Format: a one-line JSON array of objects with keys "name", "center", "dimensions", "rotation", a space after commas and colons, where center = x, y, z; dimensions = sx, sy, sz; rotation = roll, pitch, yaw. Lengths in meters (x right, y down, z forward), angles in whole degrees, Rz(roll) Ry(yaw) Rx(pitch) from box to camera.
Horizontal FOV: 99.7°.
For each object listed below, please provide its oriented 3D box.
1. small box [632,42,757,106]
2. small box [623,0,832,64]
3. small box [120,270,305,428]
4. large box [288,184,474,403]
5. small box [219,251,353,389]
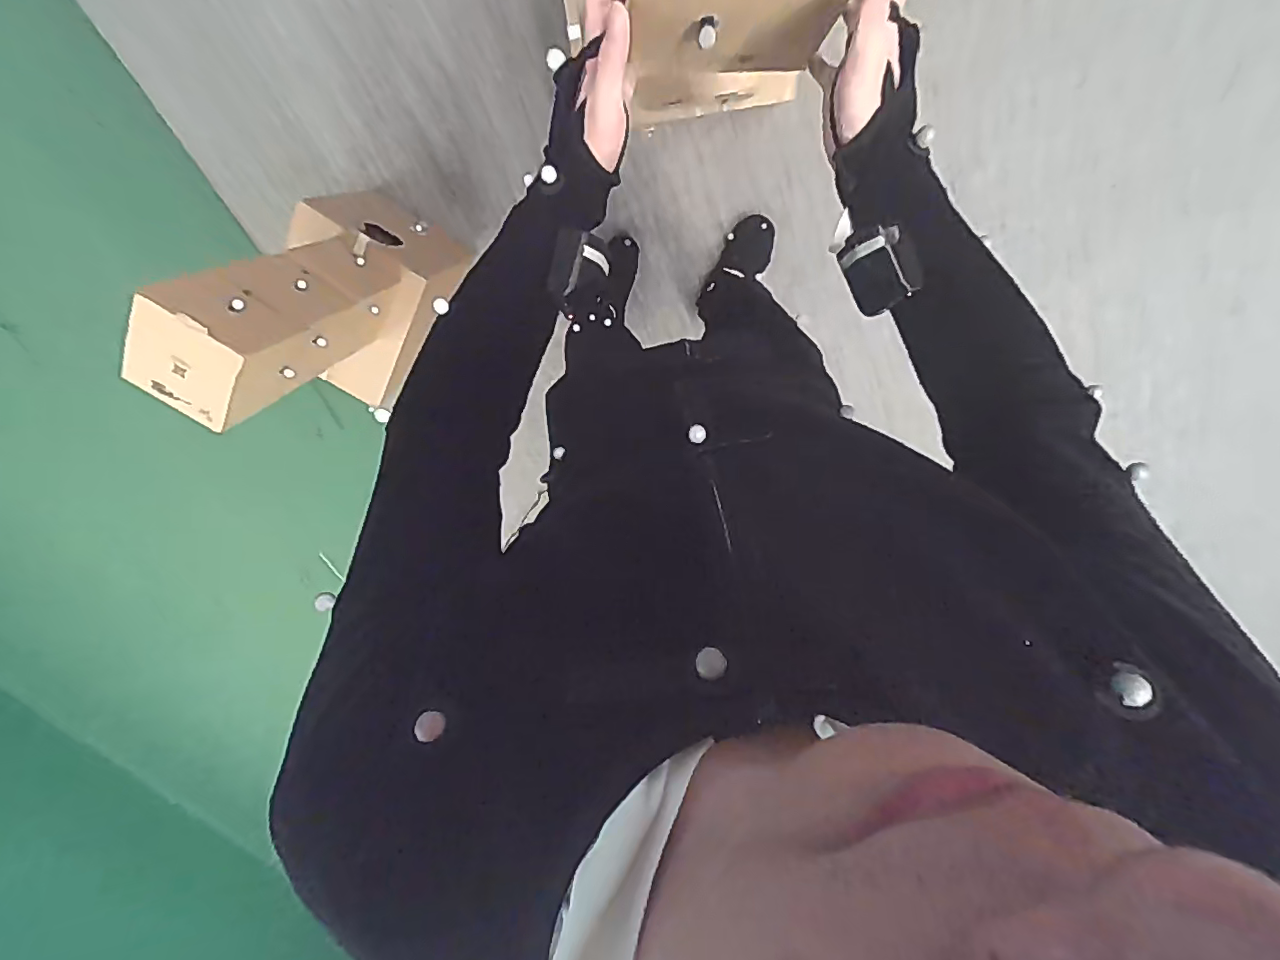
[{"name": "small box", "center": [0.077, -0.634, 0.751], "dimensions": [0.168, 0.176, 0.179], "rotation": [-2, 122, 8]}, {"name": "small box", "center": [0.070, -0.445, 0.407], "dimensions": [0.168, 0.176, 0.179], "rotation": [0, 107, 1]}, {"name": "small box", "center": [-0.711, -0.228, 0.917], "dimensions": [0.168, 0.176, 0.179], "rotation": [35, 119, -14]}, {"name": "large box", "center": [-0.696, -0.494, 1.430], "dimensions": [0.320, 0.320, 0.408], "rotation": [32, 122, -11]}, {"name": "small box", "center": [-0.696, -0.316, 1.054], "dimensions": [0.168, 0.176, 0.179], "rotation": [35, 120, -14]}]
